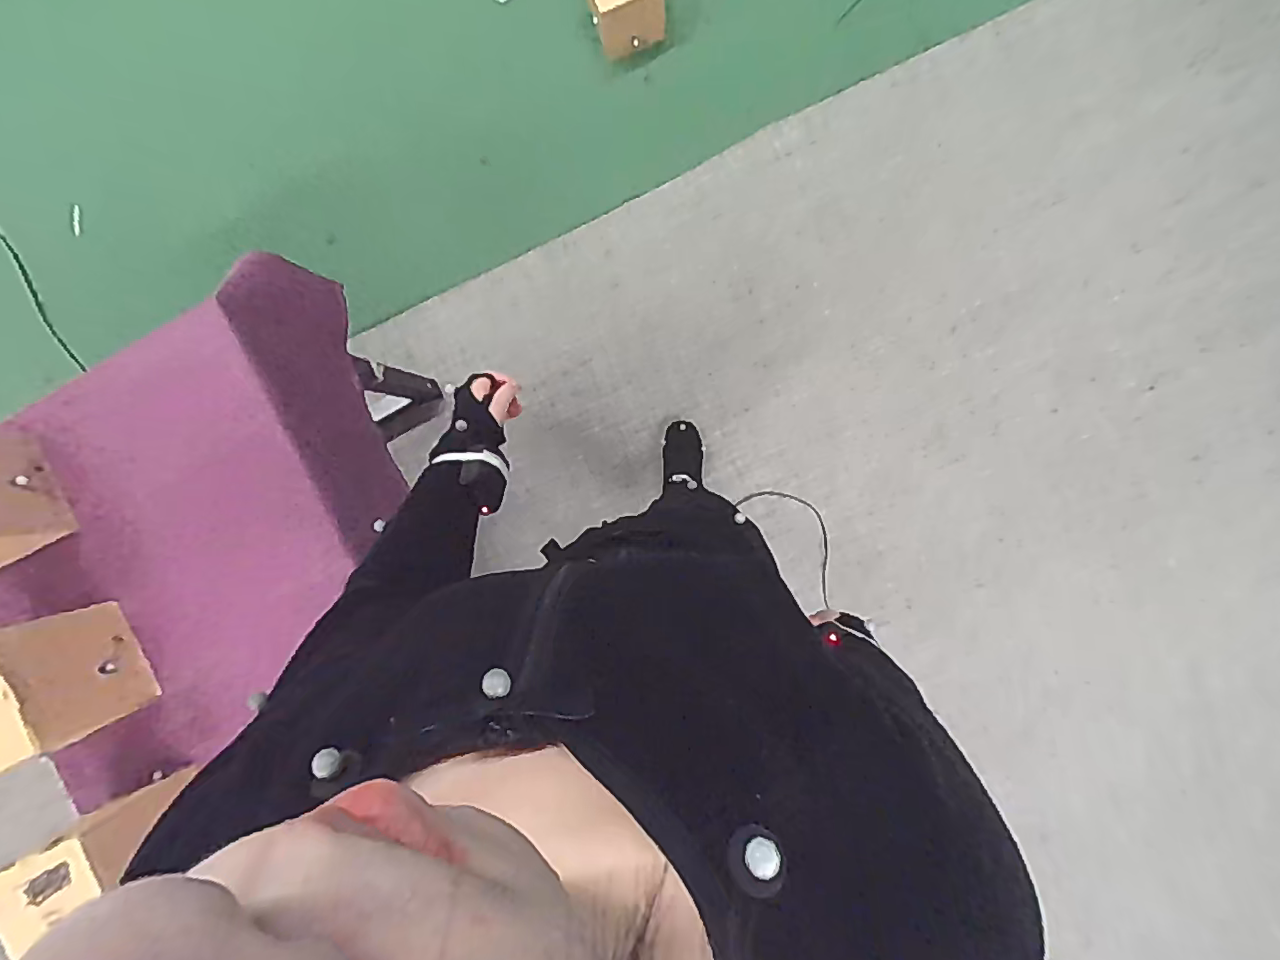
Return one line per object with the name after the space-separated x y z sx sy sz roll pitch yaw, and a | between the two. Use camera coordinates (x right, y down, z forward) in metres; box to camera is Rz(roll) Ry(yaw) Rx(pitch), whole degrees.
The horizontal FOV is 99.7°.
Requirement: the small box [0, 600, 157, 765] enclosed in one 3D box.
-0.865 0.295 0.771 0.179 0.176 0.168 -27 90 4 | small box

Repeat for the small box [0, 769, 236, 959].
-0.737 0.546 0.768 0.168 0.176 0.179 -25 91 5 | small box

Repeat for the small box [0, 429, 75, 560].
-0.986 0.033 0.765 0.179 0.176 0.168 -24 91 2 | small box
